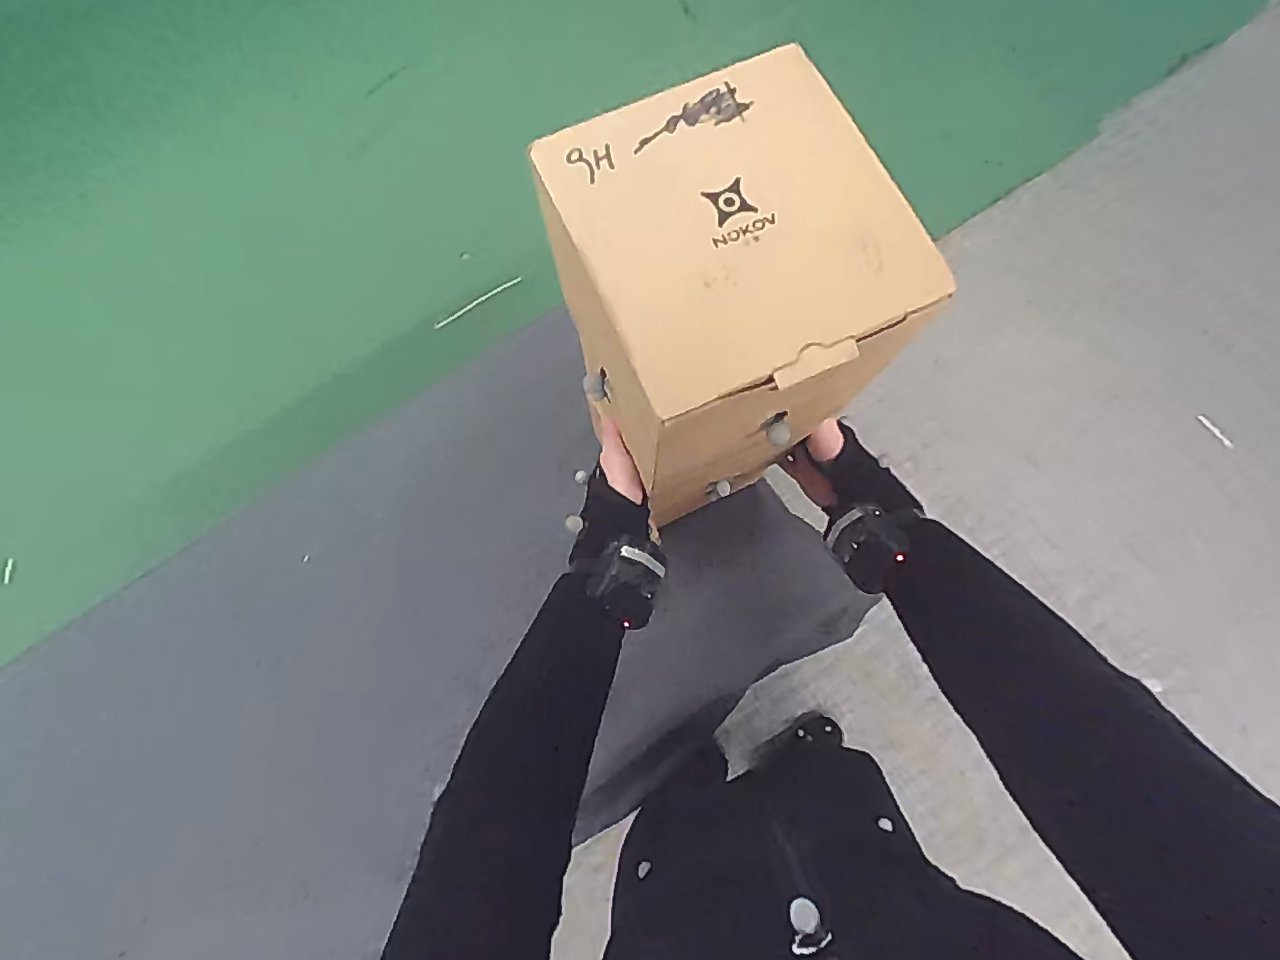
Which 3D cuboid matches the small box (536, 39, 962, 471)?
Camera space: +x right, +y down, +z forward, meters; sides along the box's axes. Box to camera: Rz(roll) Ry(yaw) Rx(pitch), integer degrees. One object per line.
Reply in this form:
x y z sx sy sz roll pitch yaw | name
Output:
0.054 -0.117 0.353 0.168 0.176 0.179 -23 79 -4 | small box

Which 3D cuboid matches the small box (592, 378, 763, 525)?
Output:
0.057 -0.057 0.675 0.179 0.176 0.168 -25 79 -6 | small box

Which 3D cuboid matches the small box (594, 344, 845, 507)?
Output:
0.057 -0.090 0.514 0.168 0.176 0.179 -21 79 -4 | small box
